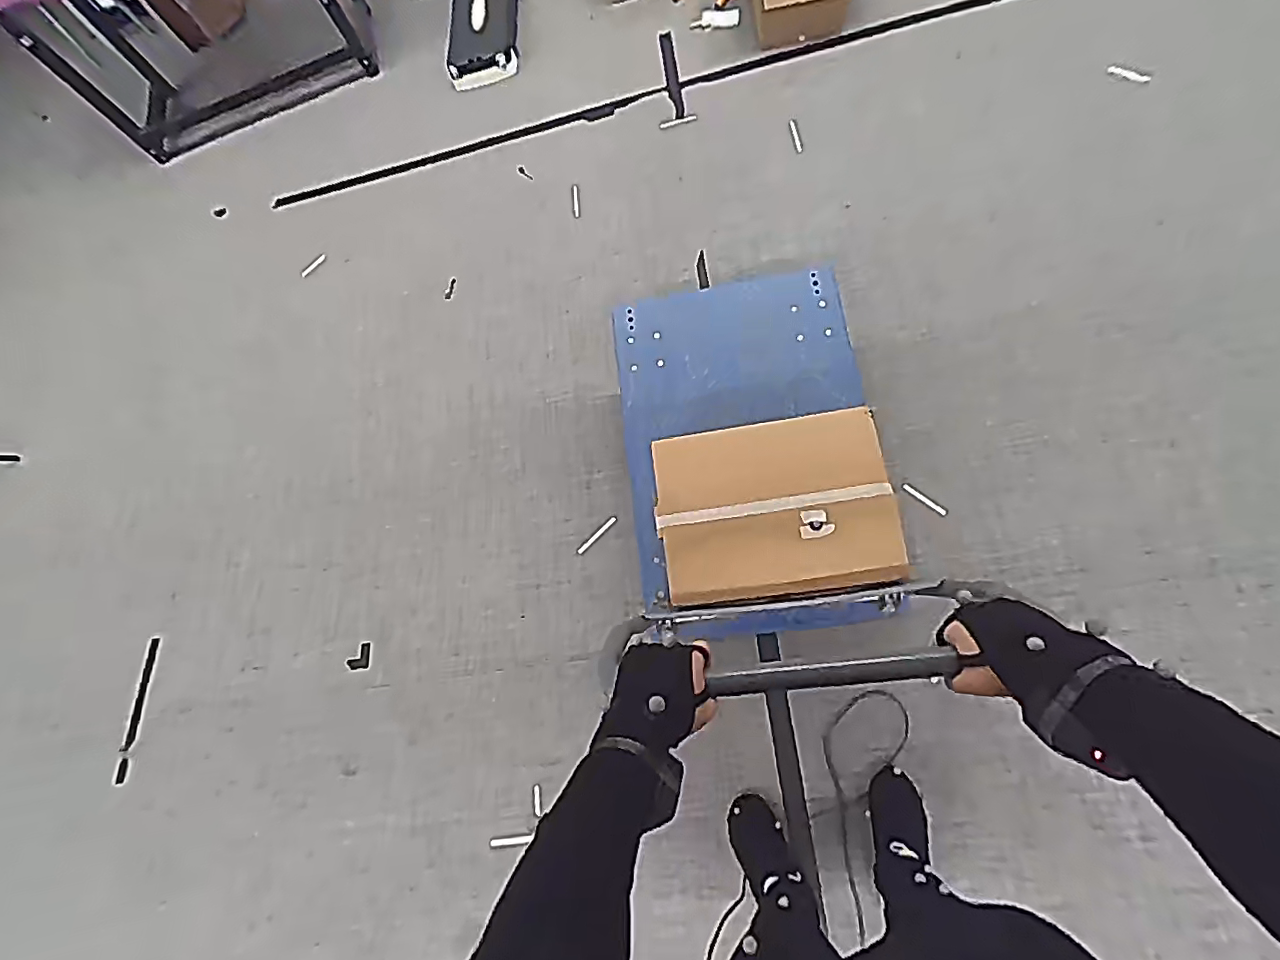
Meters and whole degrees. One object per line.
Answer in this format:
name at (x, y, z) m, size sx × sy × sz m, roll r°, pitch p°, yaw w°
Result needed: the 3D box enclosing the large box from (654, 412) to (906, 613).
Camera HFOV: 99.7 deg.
large box at (0.263, 0.091, 1.120) m, size 0.408 × 0.320 × 0.320 m, roll -9°, pitch 75°, yaw 7°
